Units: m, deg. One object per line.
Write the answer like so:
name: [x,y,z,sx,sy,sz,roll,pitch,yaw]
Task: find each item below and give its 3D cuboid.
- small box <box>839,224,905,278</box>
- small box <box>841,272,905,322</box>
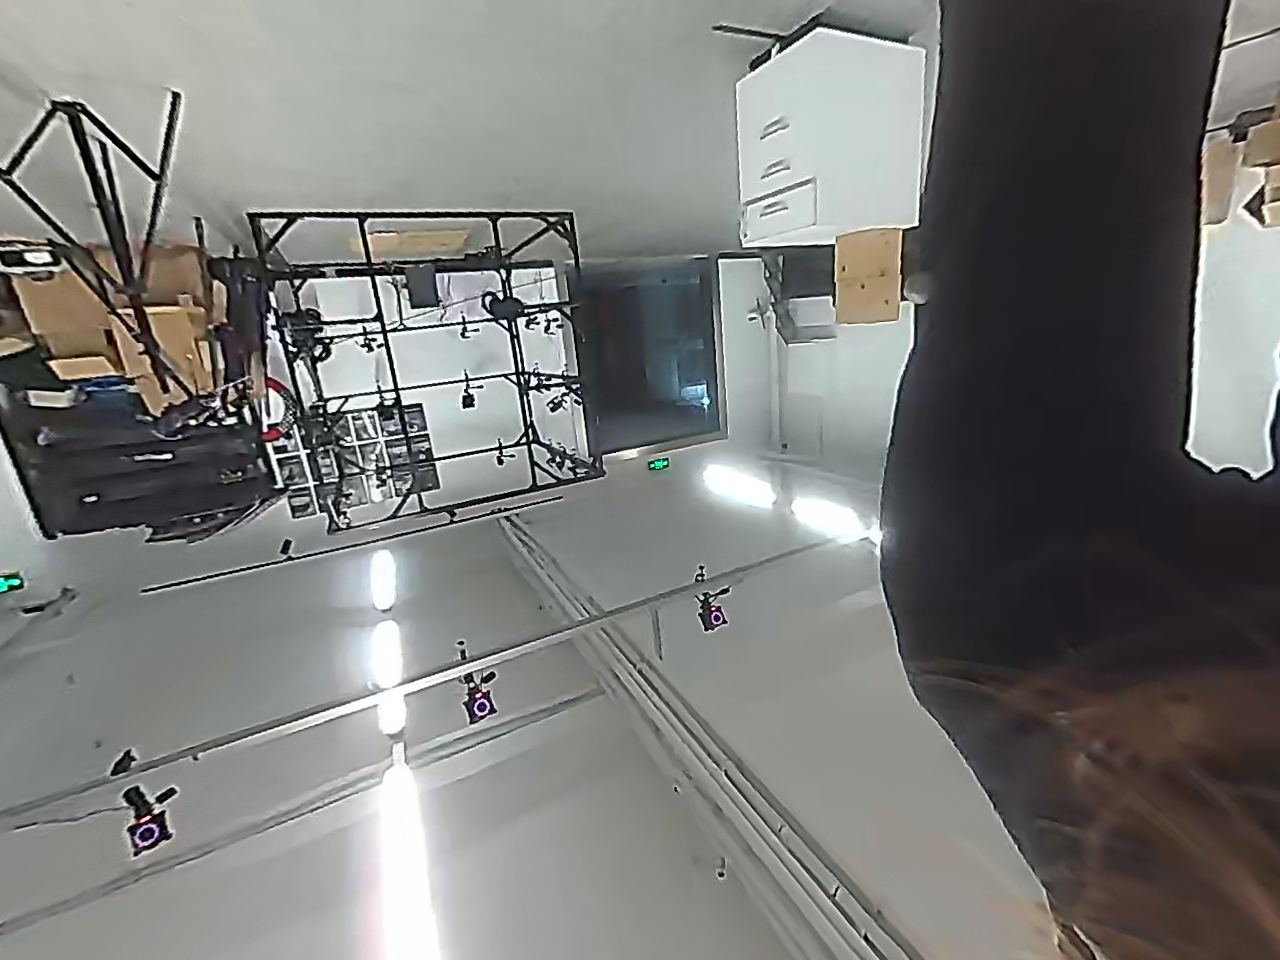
small box: [0.888,-0.874,2.069,0.168,0.176,0.179,-14,-161,-24]
small box: [0.908,-0.716,2.113,0.179,0.176,0.168,-14,-161,-25]
